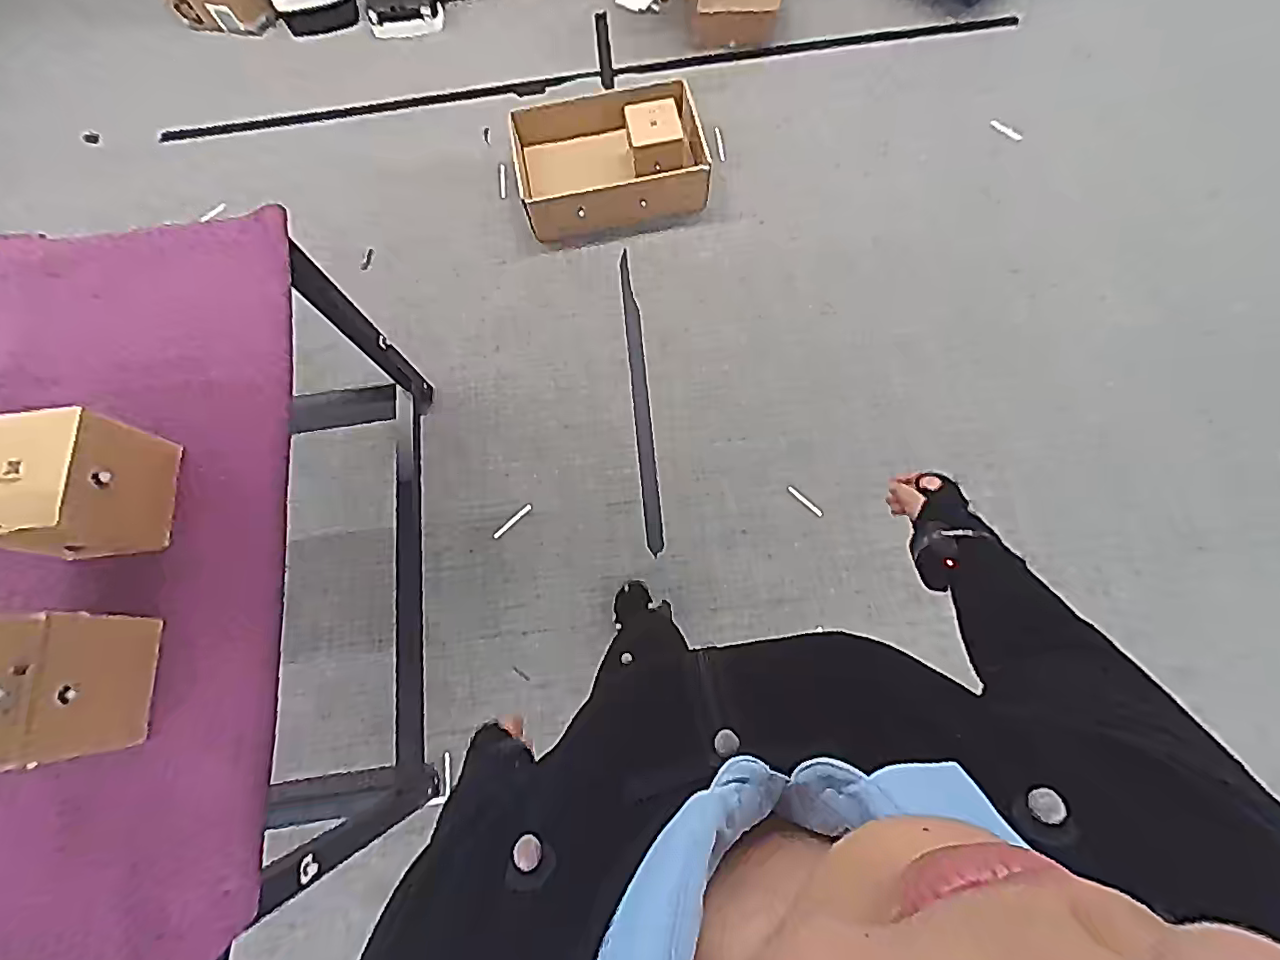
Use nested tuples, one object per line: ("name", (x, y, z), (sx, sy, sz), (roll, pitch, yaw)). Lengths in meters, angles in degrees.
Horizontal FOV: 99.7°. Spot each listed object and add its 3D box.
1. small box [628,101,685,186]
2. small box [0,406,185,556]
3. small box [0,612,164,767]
("small box", (0.058, -1.117, 1.813), (0.168, 0.176, 0.179), (-10, 72, 0))
("small box", (-0.837, 0.009, 0.812), (0.168, 0.176, 0.179), (-6, 73, 1))
("small box", (-0.797, 0.278, 0.726), (0.168, 0.176, 0.179), (-7, 72, 1))
